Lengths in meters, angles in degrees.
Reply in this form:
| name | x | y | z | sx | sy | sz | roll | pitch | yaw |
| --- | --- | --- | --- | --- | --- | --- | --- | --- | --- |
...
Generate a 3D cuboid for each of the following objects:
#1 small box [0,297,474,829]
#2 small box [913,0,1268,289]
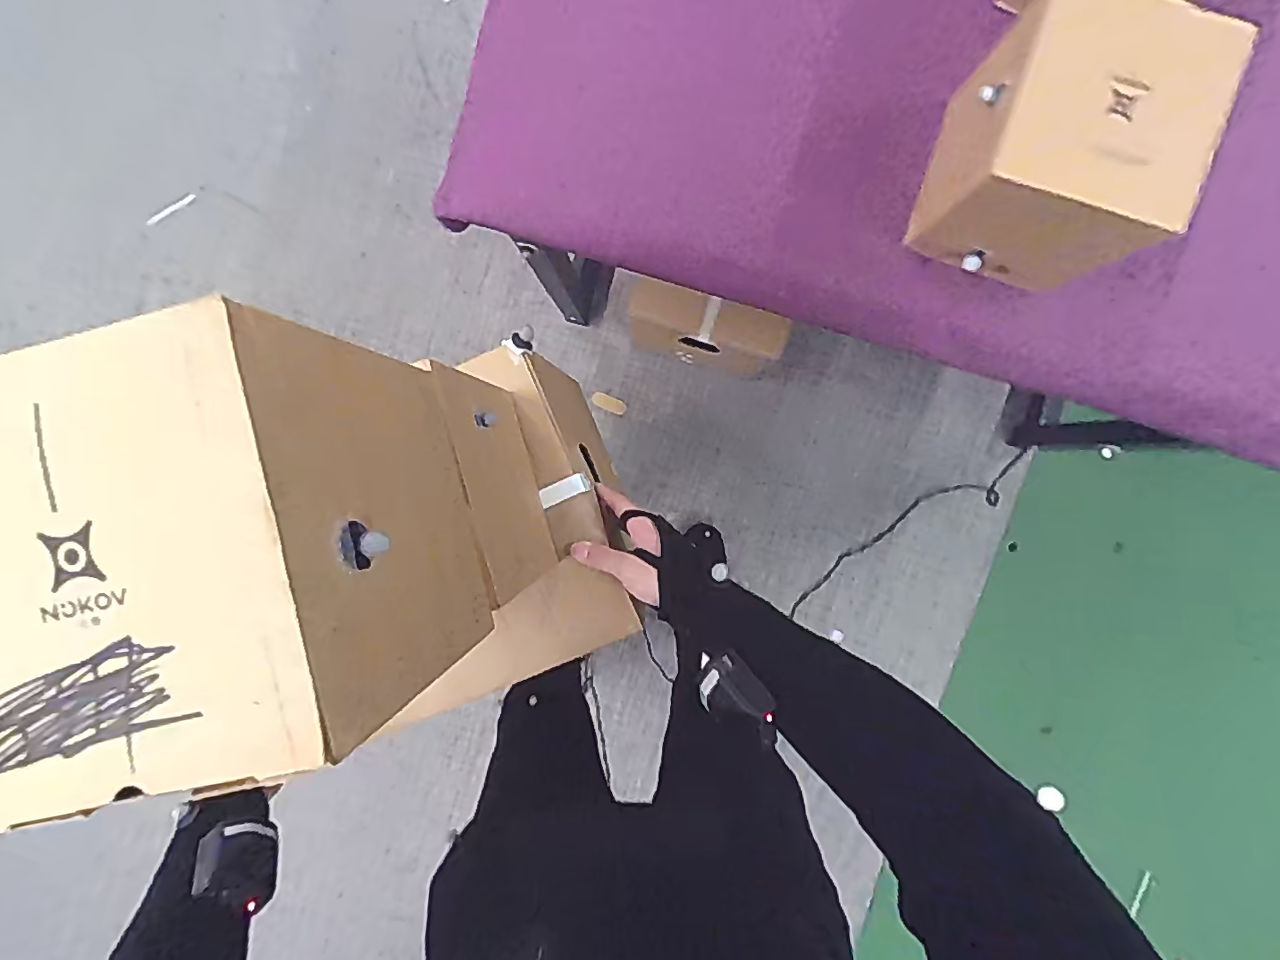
| name | x | y | z | sx | sy | sz | roll | pitch | yaw |
| --- | --- | --- | --- | --- | --- | --- | --- | --- | --- |
| small box | -0.205 | 0.034 | 0.277 | 0.168 | 0.176 | 0.179 | -14 | 90 | 5 |
| small box | 0.390 | -0.309 | 0.507 | 0.168 | 0.176 | 0.179 | 19 | 93 | 1 |
